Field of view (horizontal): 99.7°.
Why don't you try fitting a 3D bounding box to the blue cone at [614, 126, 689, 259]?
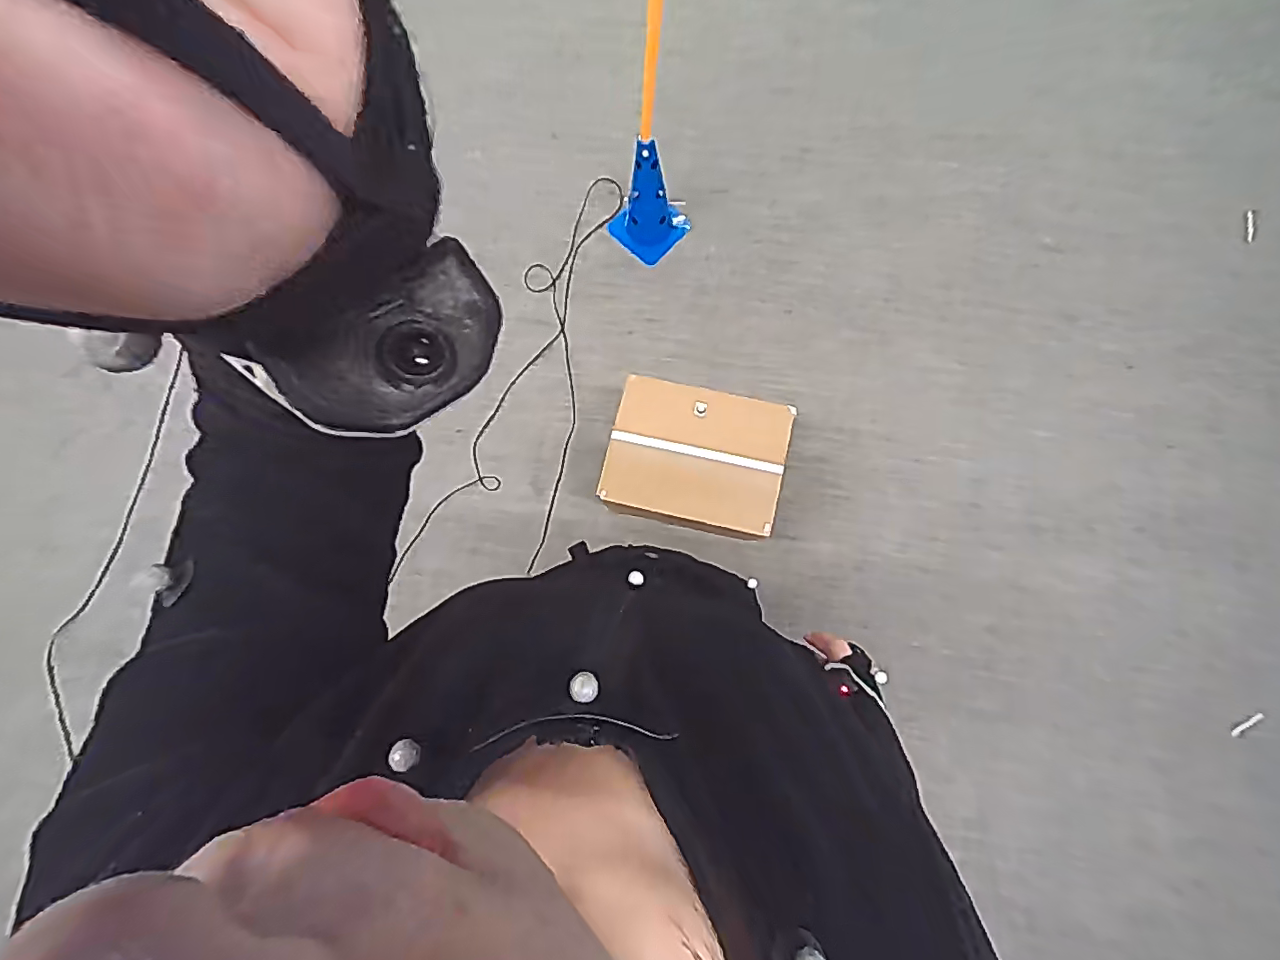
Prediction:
[{"bbox_3d":[0.031,-0.818,1.496,0.192,0.380,0.193,41,83,7],"label":"blue cone"}]
